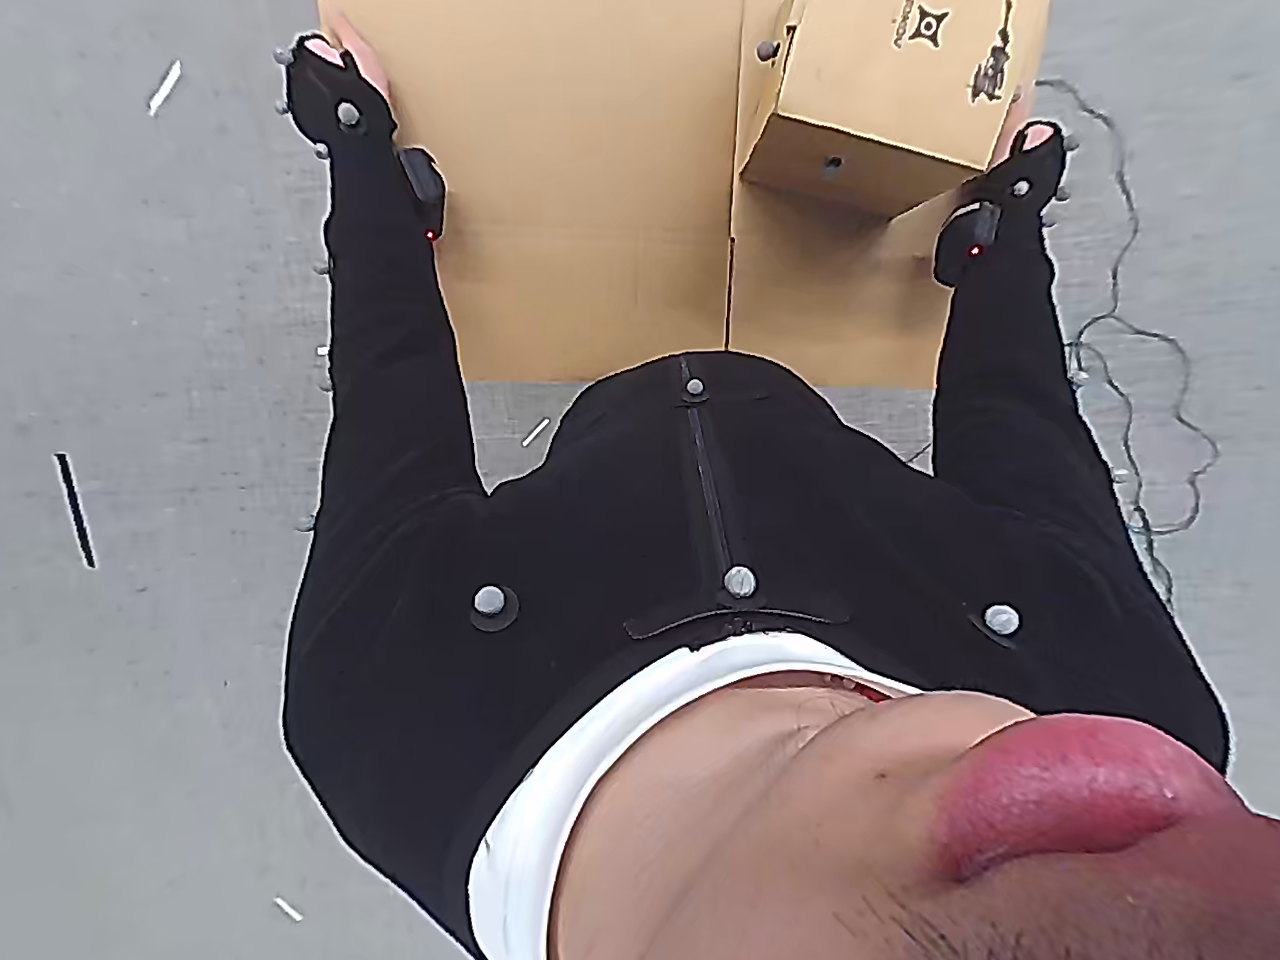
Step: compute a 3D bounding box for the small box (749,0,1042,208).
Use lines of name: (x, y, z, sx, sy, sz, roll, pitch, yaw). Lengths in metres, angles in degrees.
small box: (0.209, -0.364, 0.483, 0.179, 0.176, 0.168, 14, 104, -1)
